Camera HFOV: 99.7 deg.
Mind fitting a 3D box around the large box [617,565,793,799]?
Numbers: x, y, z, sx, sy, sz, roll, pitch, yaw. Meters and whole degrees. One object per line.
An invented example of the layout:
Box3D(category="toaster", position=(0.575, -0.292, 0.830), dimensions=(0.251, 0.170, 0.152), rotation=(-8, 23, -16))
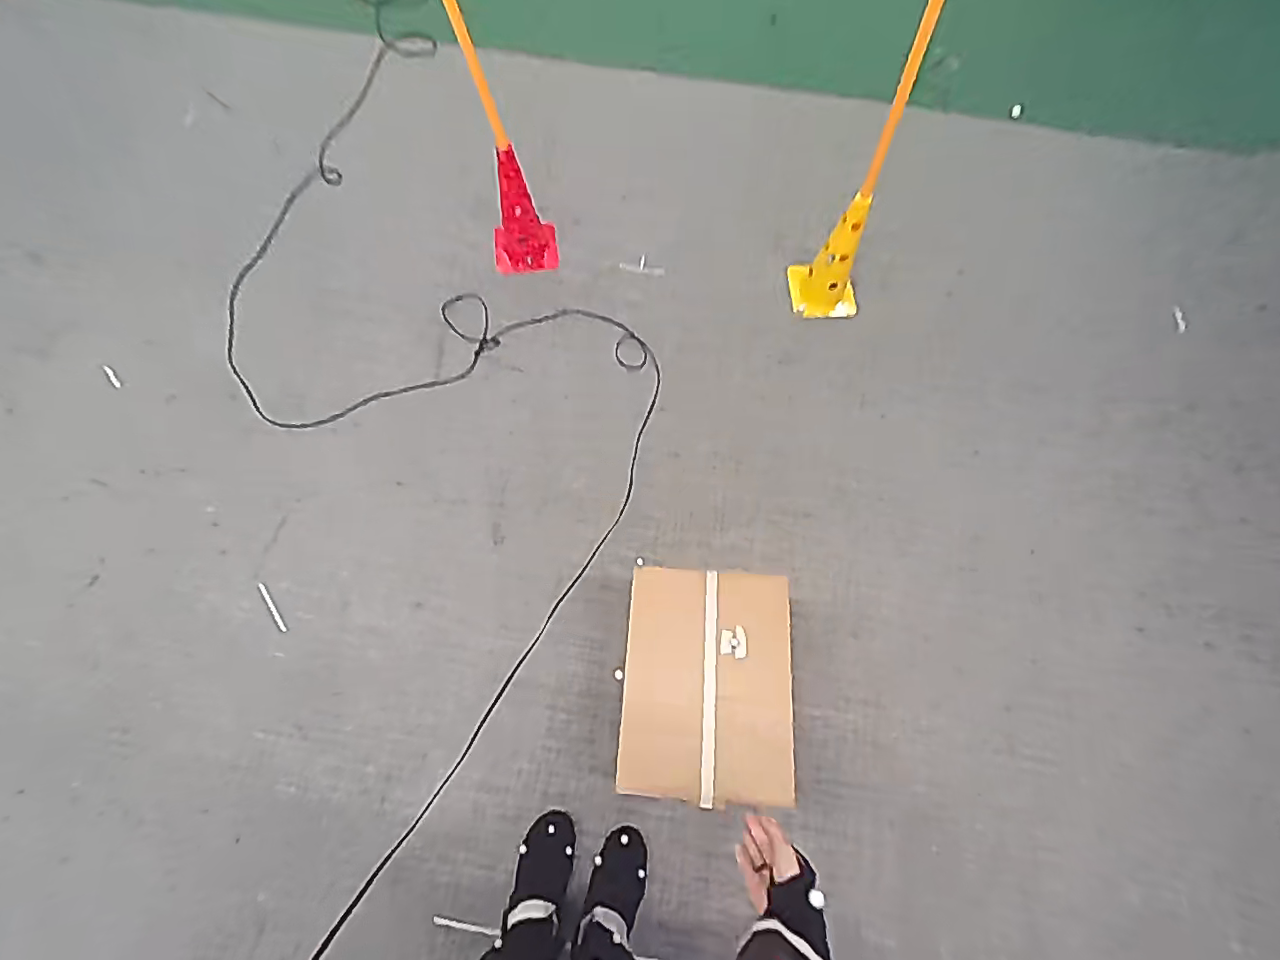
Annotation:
Box3D(category="large box", position=(0.123, 0.426, 1.153), dimensions=(0.320, 0.320, 0.408), rotation=(5, 66, 0))
